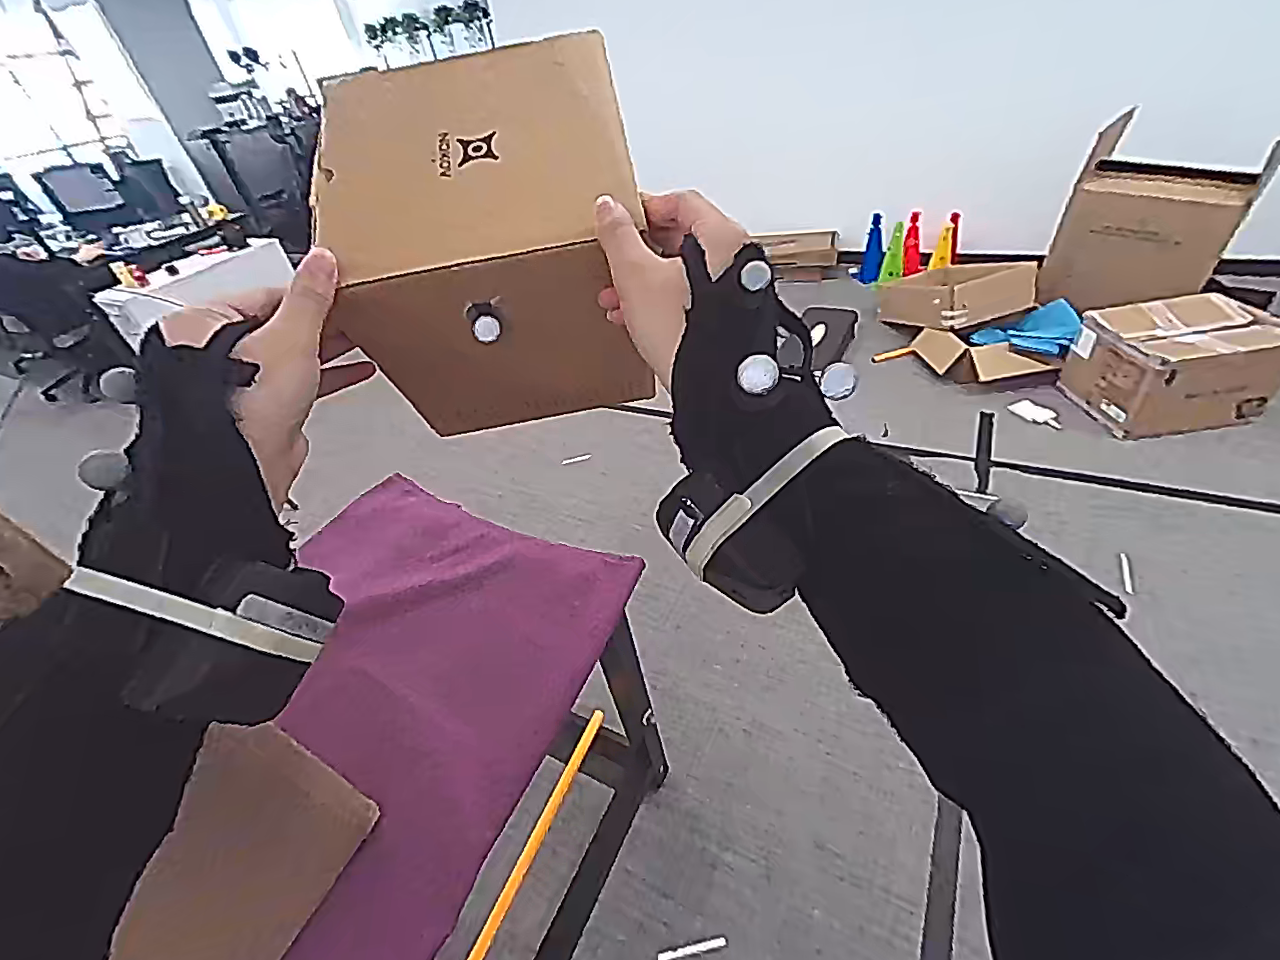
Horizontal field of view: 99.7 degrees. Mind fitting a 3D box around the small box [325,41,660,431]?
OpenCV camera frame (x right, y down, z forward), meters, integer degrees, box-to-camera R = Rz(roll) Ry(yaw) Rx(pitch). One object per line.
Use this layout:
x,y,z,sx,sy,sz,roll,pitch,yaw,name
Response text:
-0.083,-0.152,0.379,0.179,0.176,0.168,-10,68,1,small box
